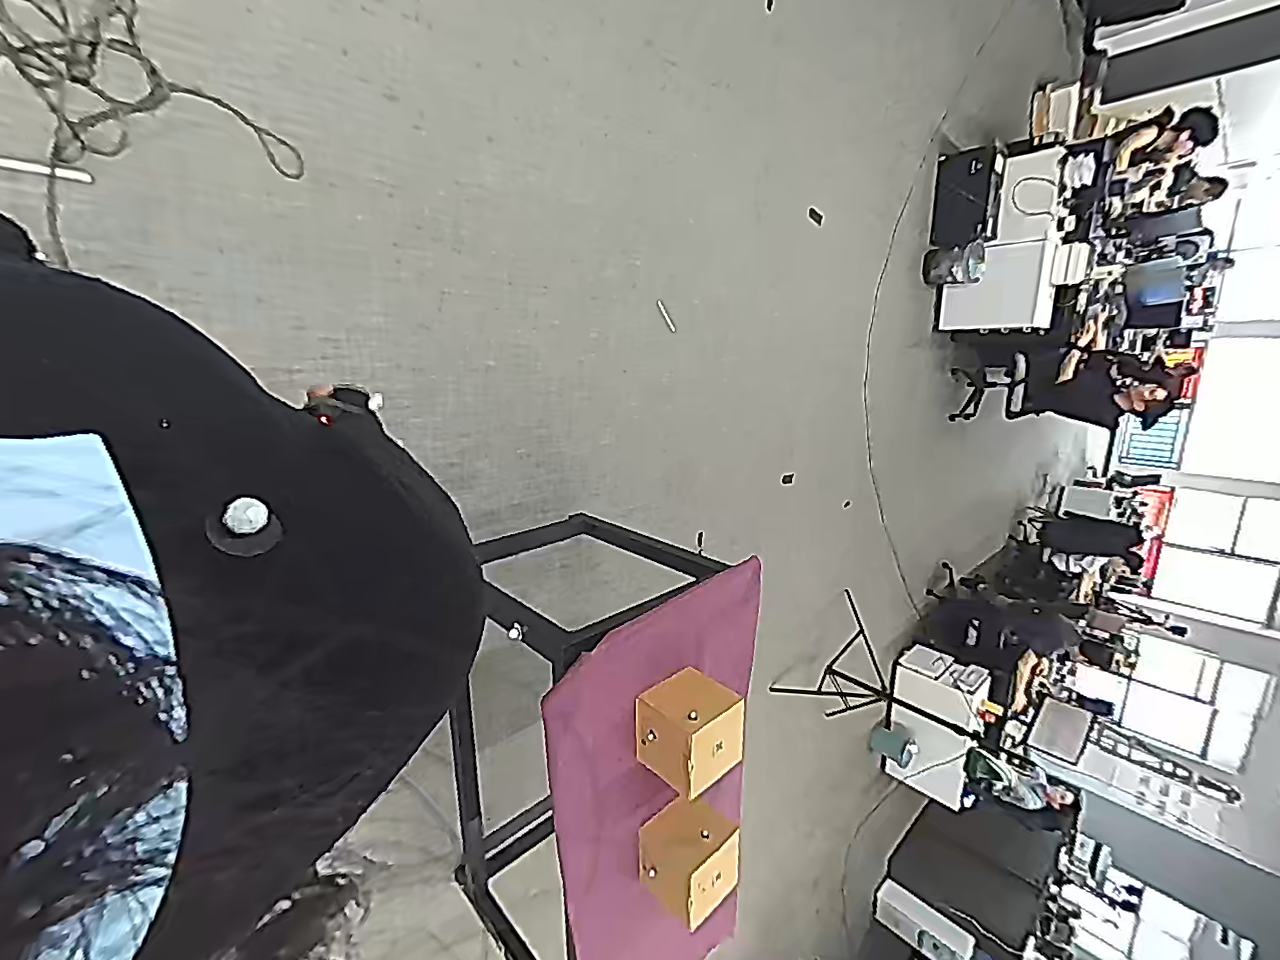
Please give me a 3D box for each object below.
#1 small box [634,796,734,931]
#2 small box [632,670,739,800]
[{"bbox_3d":[0.105,0.900,1.297,0.179,0.176,0.168,-13,108,-41],"label":"small box"},{"bbox_3d":[0.101,0.557,1.212,0.179,0.176,0.168,-14,110,-40],"label":"small box"}]
